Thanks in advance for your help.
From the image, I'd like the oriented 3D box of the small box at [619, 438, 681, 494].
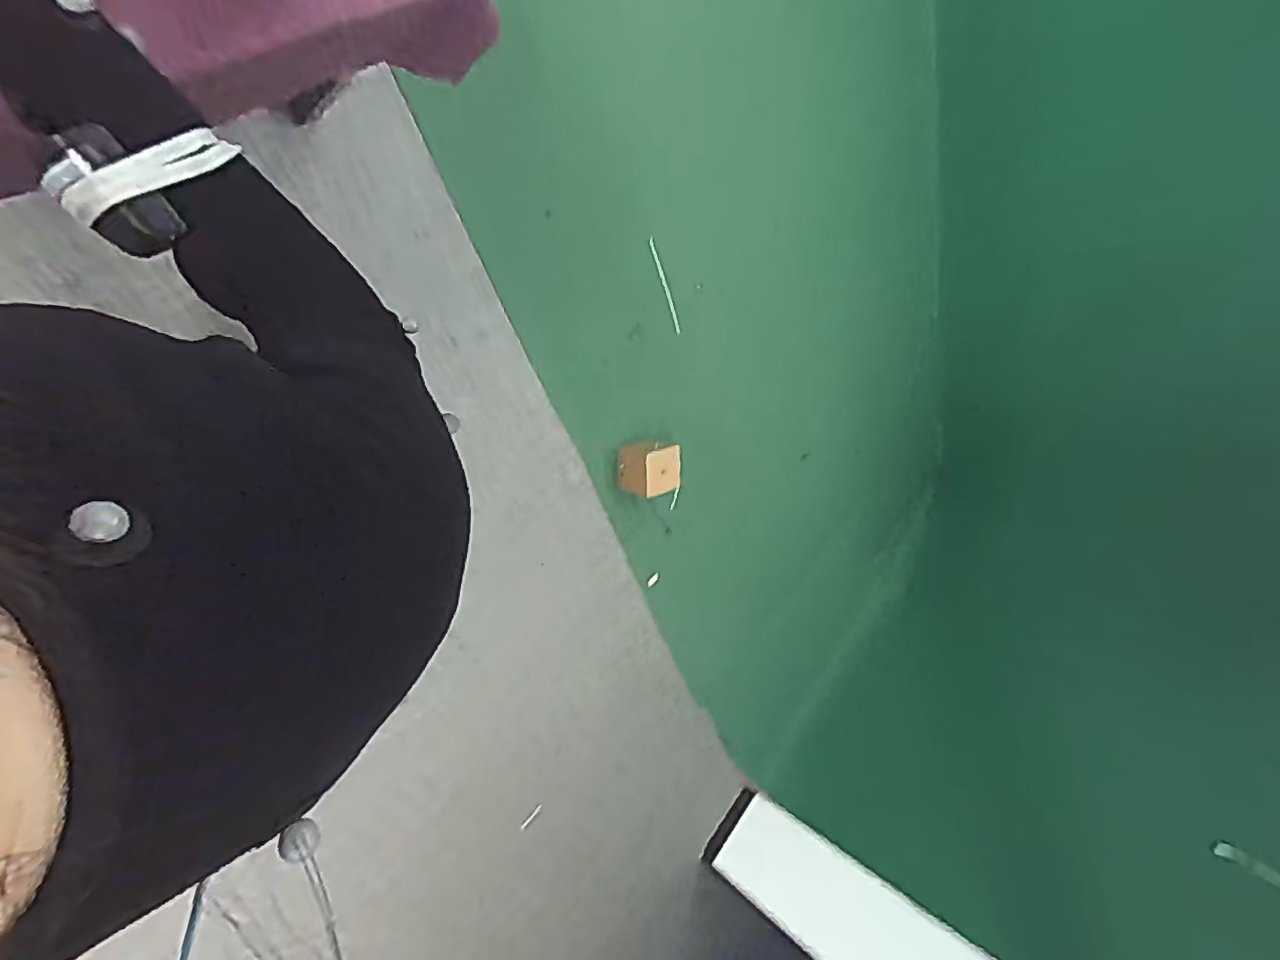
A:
[{"bbox_3d":[0.038,-0.058,2.058,0.179,0.176,0.168,-18,113,-40],"label":"small box"}]
